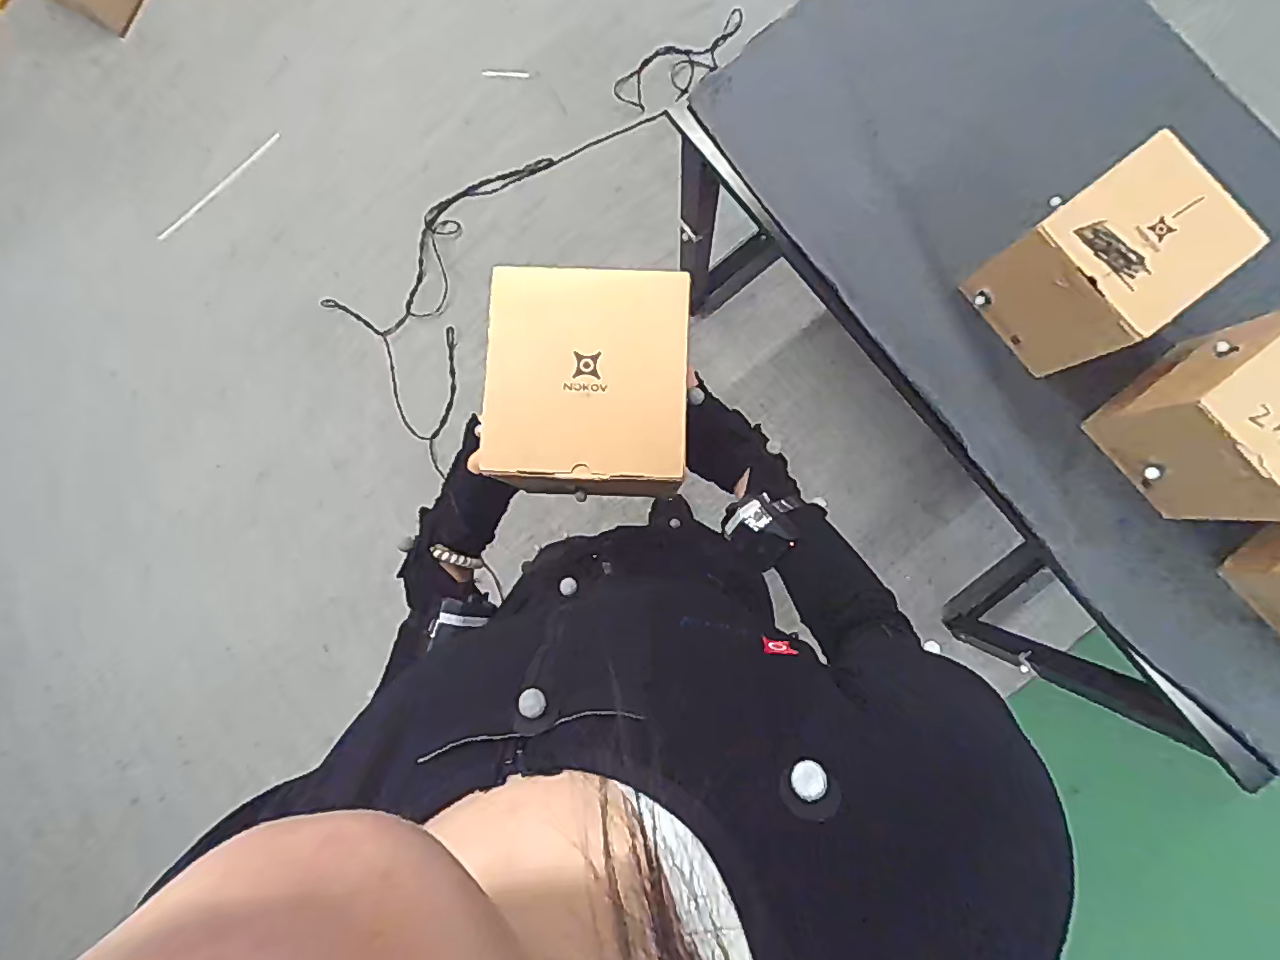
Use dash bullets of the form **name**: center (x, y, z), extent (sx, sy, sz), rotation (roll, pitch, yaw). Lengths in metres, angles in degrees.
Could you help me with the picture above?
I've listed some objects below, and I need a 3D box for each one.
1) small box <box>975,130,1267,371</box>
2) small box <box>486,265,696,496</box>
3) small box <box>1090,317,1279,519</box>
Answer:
- **small box**: center (0.552, -0.259, 0.657), extent (0.179, 0.176, 0.168), rotation (-38, 86, 0)
- **small box**: center (-0.039, -0.080, 0.516), extent (0.168, 0.176, 0.179), rotation (1, 84, 0)
- **small box**: center (0.705, -0.072, 0.638), extent (0.179, 0.176, 0.168), rotation (-40, 85, 0)
